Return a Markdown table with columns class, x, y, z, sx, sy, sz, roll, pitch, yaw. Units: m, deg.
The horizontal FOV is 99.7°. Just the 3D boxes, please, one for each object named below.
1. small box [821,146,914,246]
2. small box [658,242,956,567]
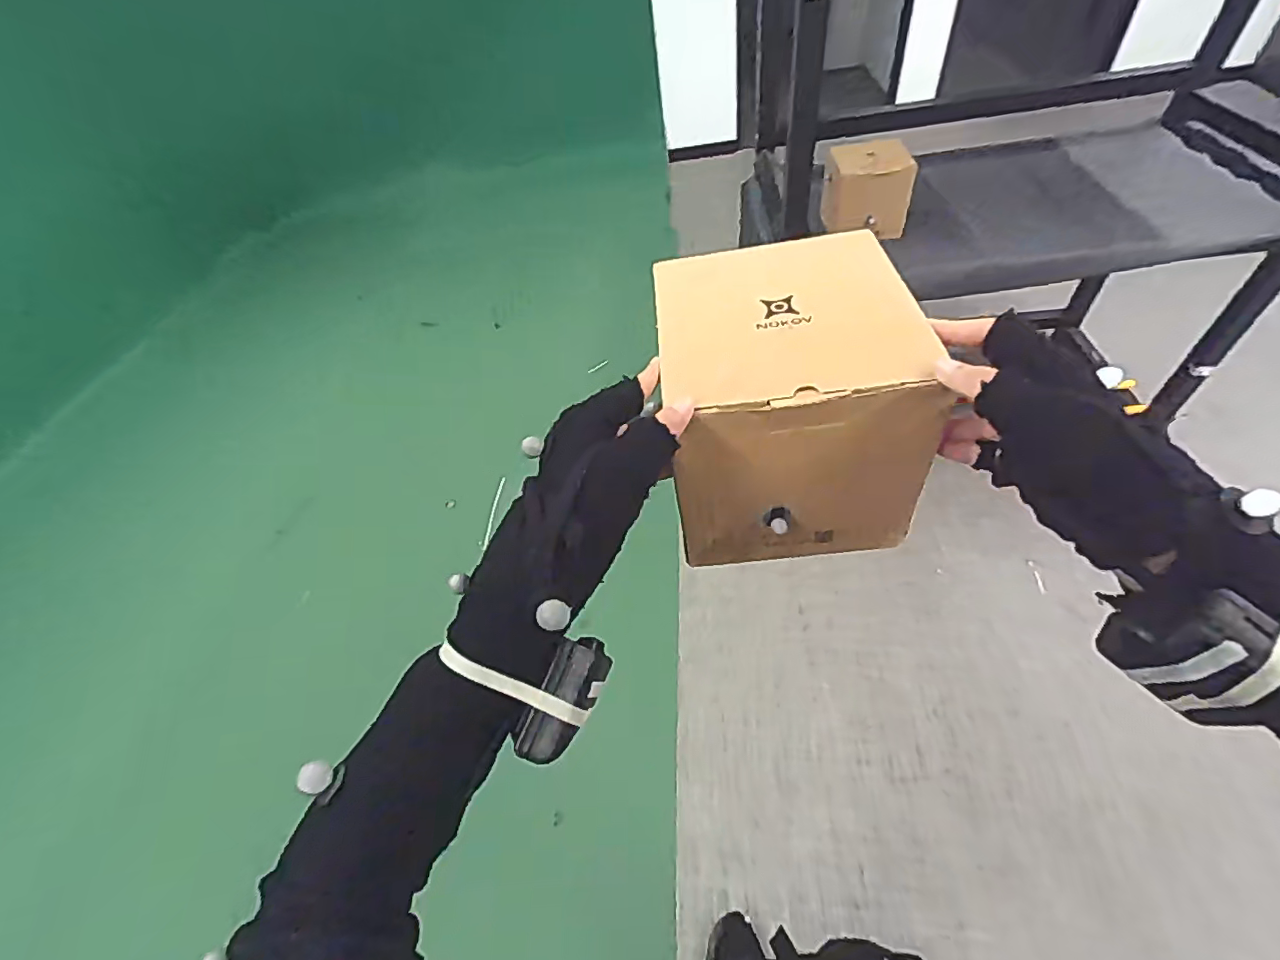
| class | x | y | z | sx | sy | sz | roll | pitch | yaw |
| --- | --- | --- | --- | --- | --- | --- | --- | --- | --- |
| small box | 0.555 | -0.703 | 1.348 | 0.168 | 0.176 | 0.179 | -4 | 50 | 7 |
| small box | 0.106 | -0.055 | 0.420 | 0.168 | 0.176 | 0.179 | -7 | 49 | 6 |
